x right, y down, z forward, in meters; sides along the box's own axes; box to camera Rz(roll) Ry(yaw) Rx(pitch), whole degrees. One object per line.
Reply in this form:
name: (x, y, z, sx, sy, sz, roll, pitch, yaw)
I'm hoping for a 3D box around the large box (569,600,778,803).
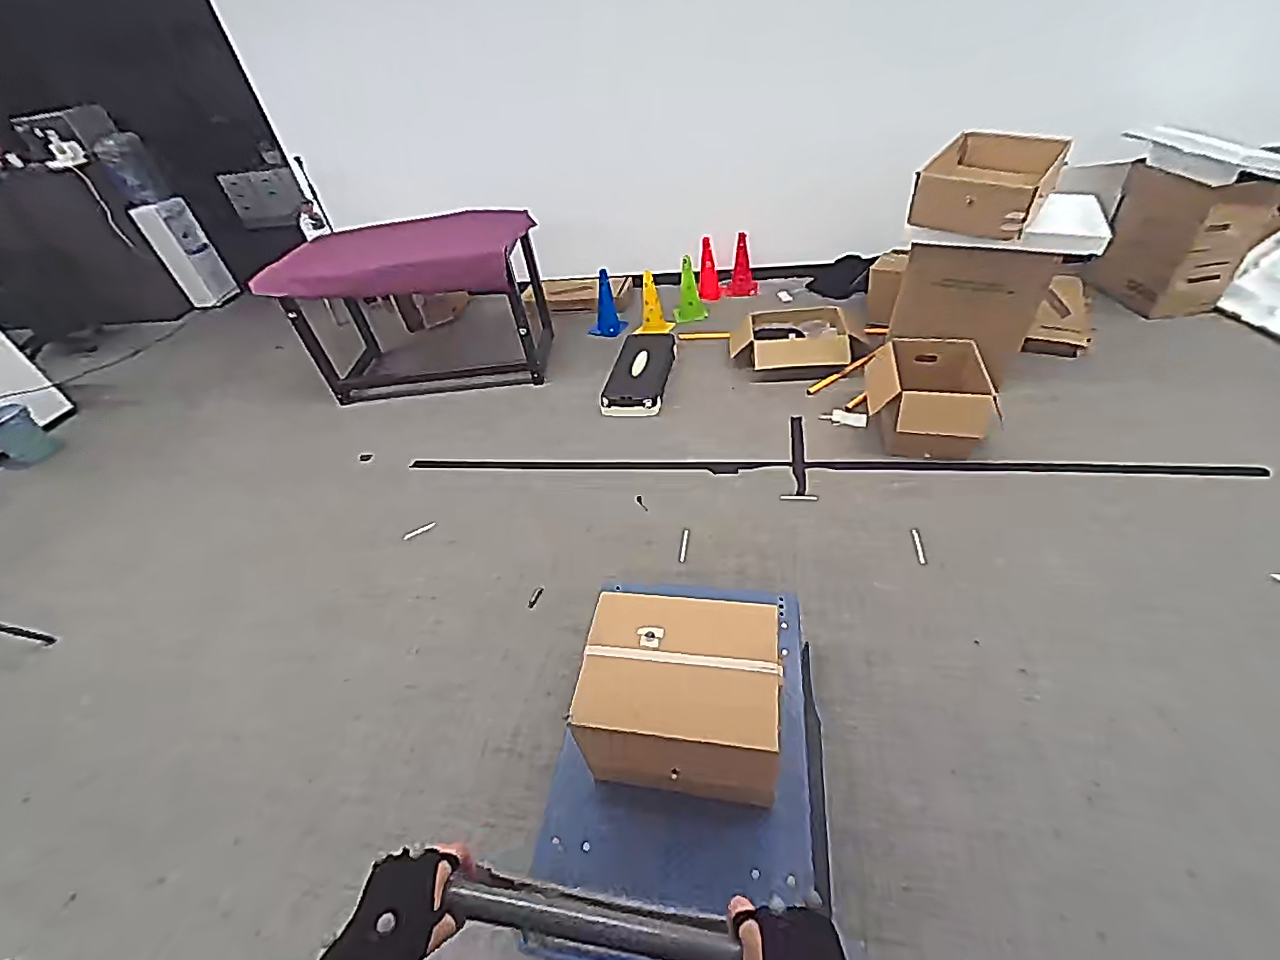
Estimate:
large box: (0.099, 0.497, 1.225, 0.408, 0.320, 0.320, 1, 42, 13)
